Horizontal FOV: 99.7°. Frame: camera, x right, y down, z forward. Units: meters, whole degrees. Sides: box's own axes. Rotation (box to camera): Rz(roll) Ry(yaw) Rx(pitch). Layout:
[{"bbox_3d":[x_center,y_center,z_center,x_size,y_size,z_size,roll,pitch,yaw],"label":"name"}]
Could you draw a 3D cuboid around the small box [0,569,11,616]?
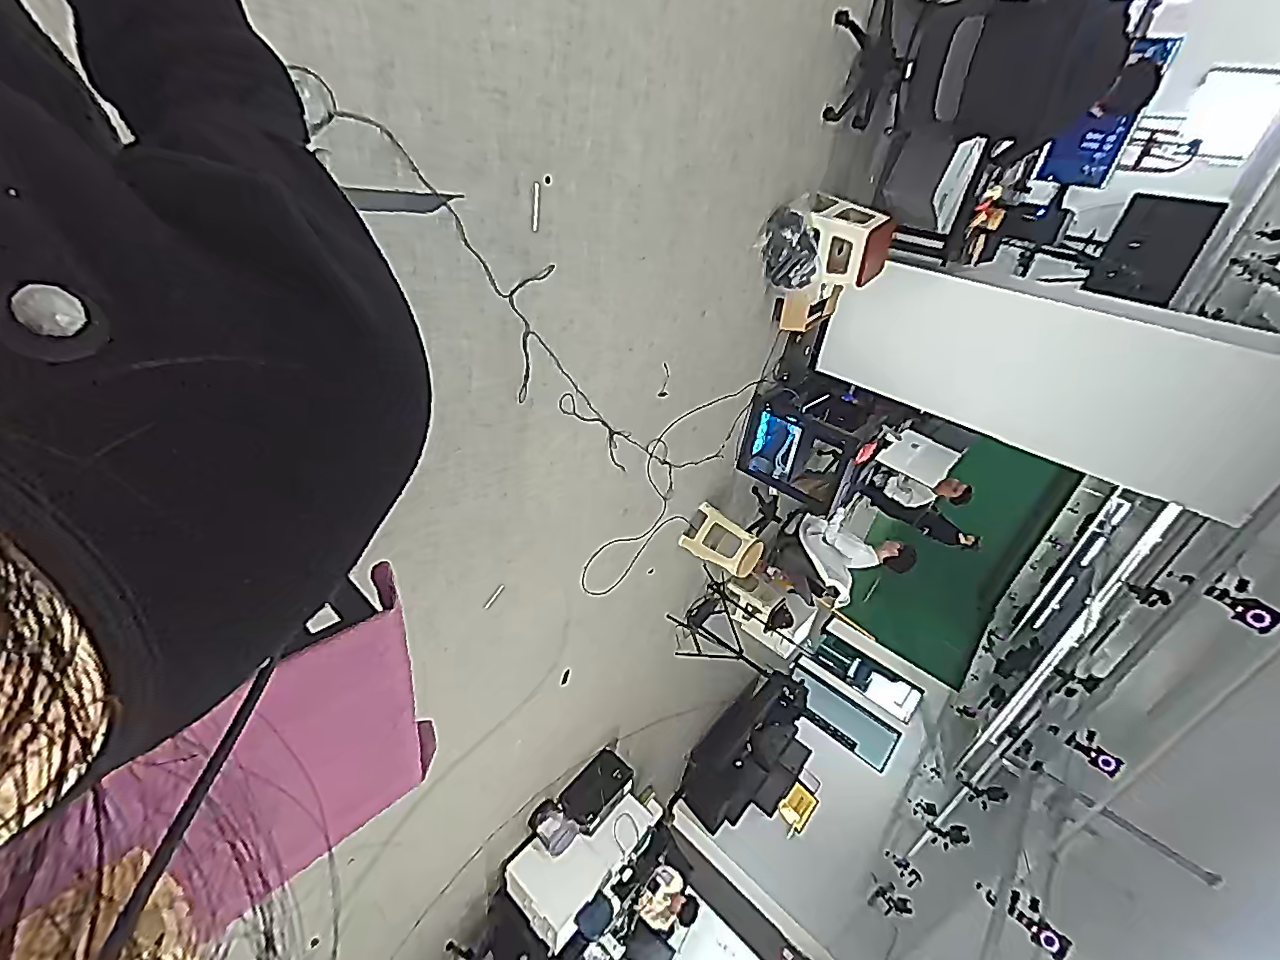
[{"bbox_3d":[-1.320,0.175,0.992,0.168,0.176,0.179,-27,136,-43],"label":"small box"}]
